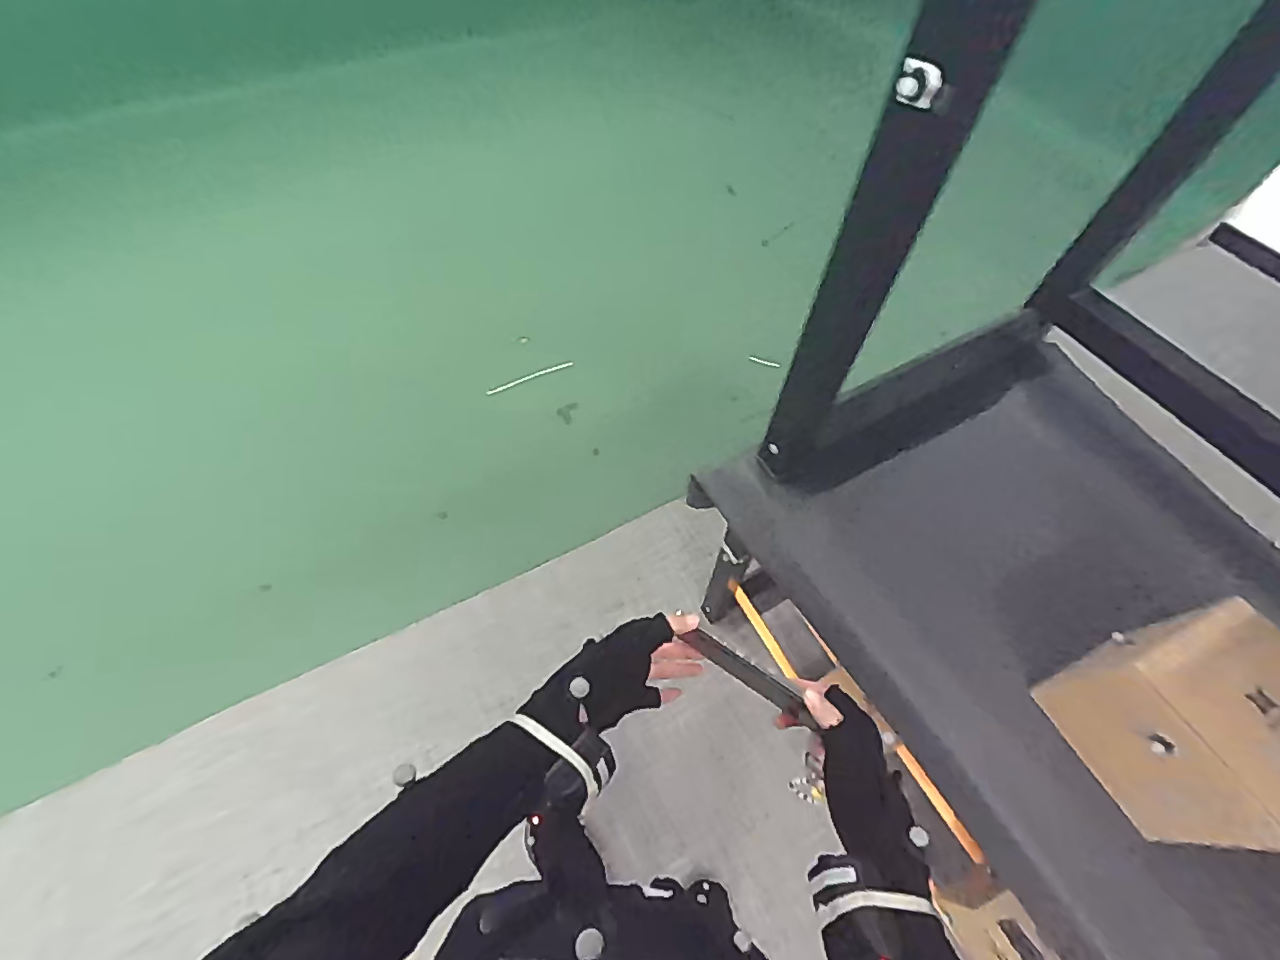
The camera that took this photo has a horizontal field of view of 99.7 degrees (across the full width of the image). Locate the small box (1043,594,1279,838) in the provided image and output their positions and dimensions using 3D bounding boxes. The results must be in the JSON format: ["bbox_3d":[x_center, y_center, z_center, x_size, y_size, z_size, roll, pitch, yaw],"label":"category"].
[{"bbox_3d":[0.595,0.255,0.576,0.168,0.176,0.179,-22,62,-13],"label":"small box"}]

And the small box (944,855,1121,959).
[{"bbox_3d":[0.686,0.810,0.972,0.179,0.176,0.168,-22,62,-13],"label":"small box"}]
